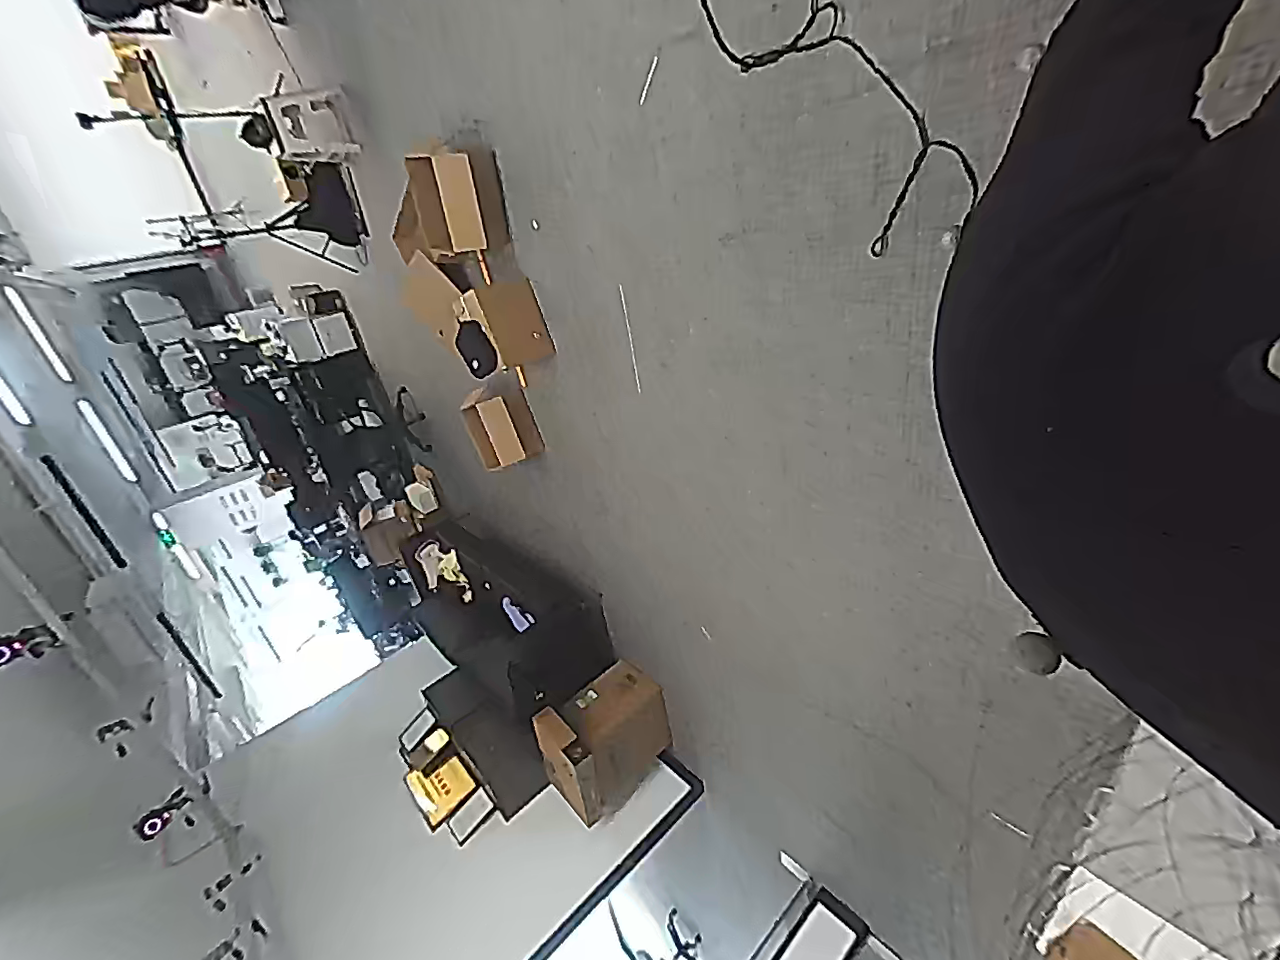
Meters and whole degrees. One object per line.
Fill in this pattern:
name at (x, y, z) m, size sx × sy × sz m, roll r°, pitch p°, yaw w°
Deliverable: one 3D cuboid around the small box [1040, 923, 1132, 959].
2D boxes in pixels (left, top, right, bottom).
small box at (0.879, 1.006, 1.024) m, size 0.179 × 0.176 × 0.168 m, roll 34°, pitch 138°, yaw 35°
